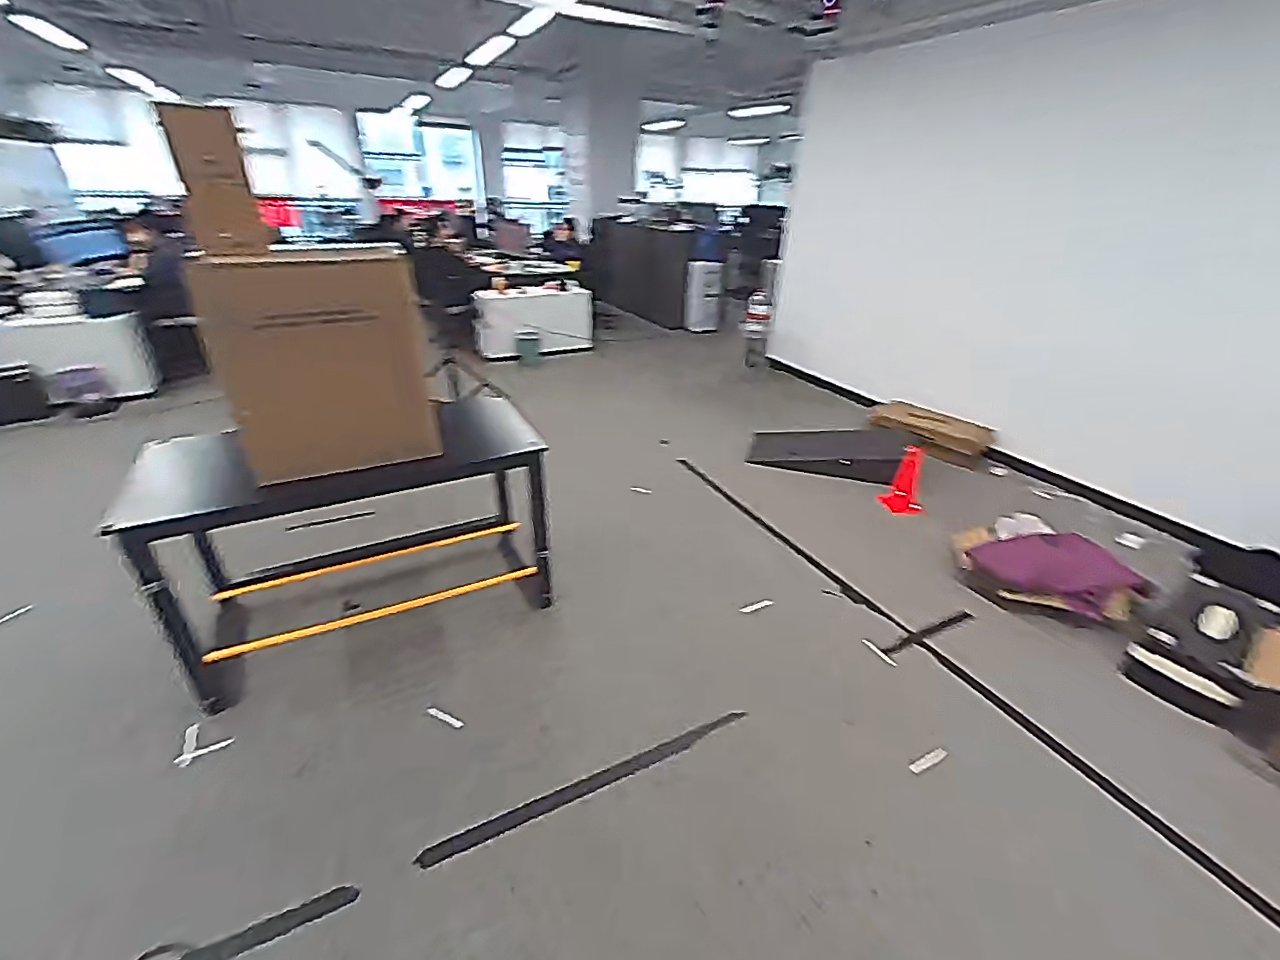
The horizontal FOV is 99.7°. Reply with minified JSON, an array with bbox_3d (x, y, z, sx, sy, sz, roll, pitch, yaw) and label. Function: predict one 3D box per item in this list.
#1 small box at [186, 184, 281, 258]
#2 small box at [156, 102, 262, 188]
[{"bbox_3d":[-1.089,-0.700,1.457,0.168,0.176,0.179,-16,35,-29],"label":"small box"},{"bbox_3d":[-1.084,-0.843,1.374,0.168,0.176,0.179,-15,33,-27],"label":"small box"}]
